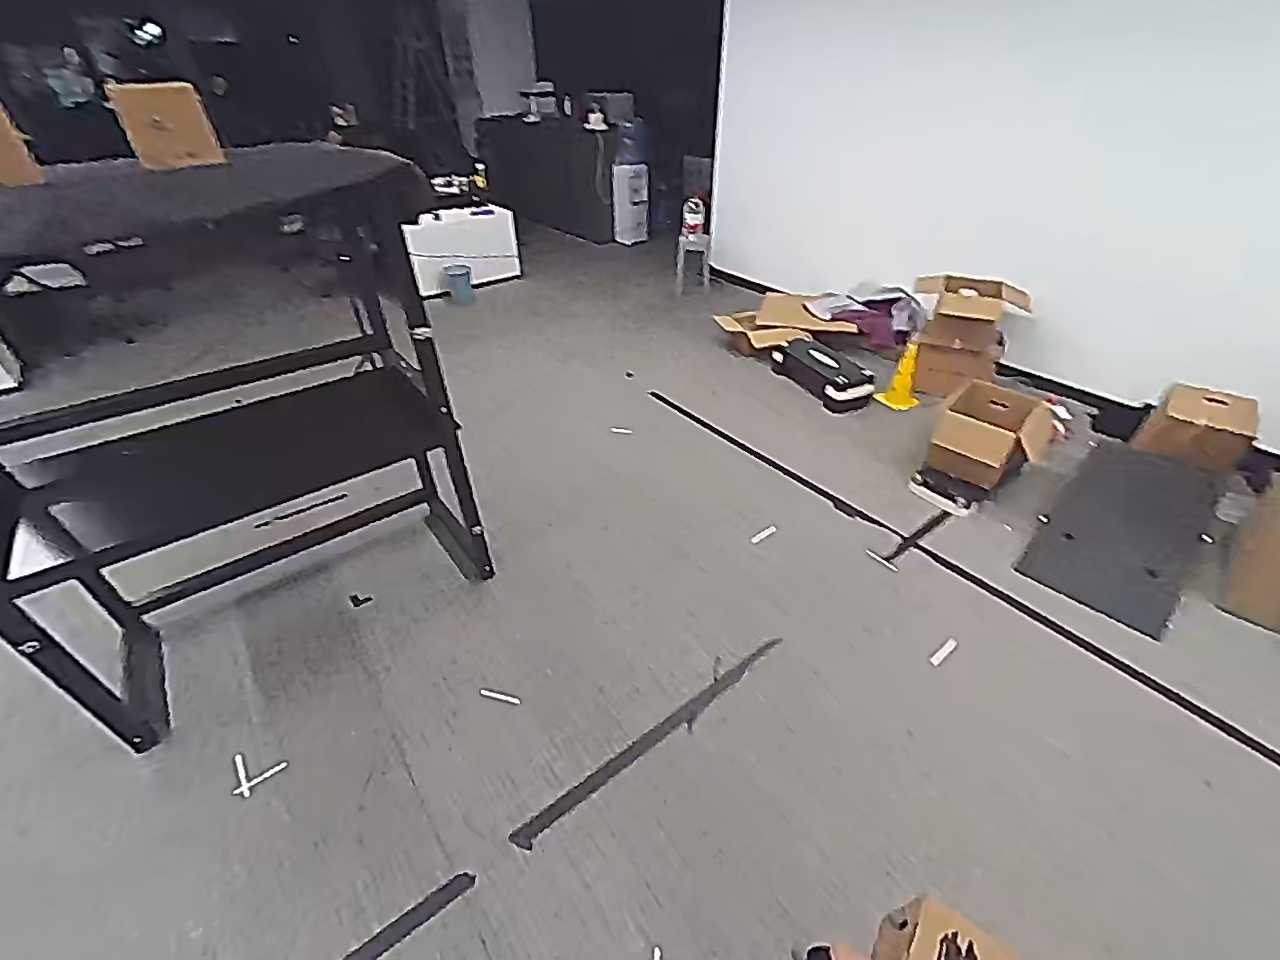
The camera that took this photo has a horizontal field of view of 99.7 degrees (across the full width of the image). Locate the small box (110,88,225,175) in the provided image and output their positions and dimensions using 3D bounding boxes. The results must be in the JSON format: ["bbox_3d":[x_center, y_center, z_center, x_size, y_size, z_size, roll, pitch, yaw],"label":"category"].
[{"bbox_3d":[-1.183,-0.877,1.361,0.168,0.176,0.179,-27,45,-29],"label":"small box"}]

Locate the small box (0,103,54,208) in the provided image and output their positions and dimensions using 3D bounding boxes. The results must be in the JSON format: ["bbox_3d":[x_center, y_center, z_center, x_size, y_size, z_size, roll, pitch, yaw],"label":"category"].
[{"bbox_3d":[-1.260,-0.610,1.014,0.168,0.176,0.179,-30,45,-31],"label":"small box"}]
